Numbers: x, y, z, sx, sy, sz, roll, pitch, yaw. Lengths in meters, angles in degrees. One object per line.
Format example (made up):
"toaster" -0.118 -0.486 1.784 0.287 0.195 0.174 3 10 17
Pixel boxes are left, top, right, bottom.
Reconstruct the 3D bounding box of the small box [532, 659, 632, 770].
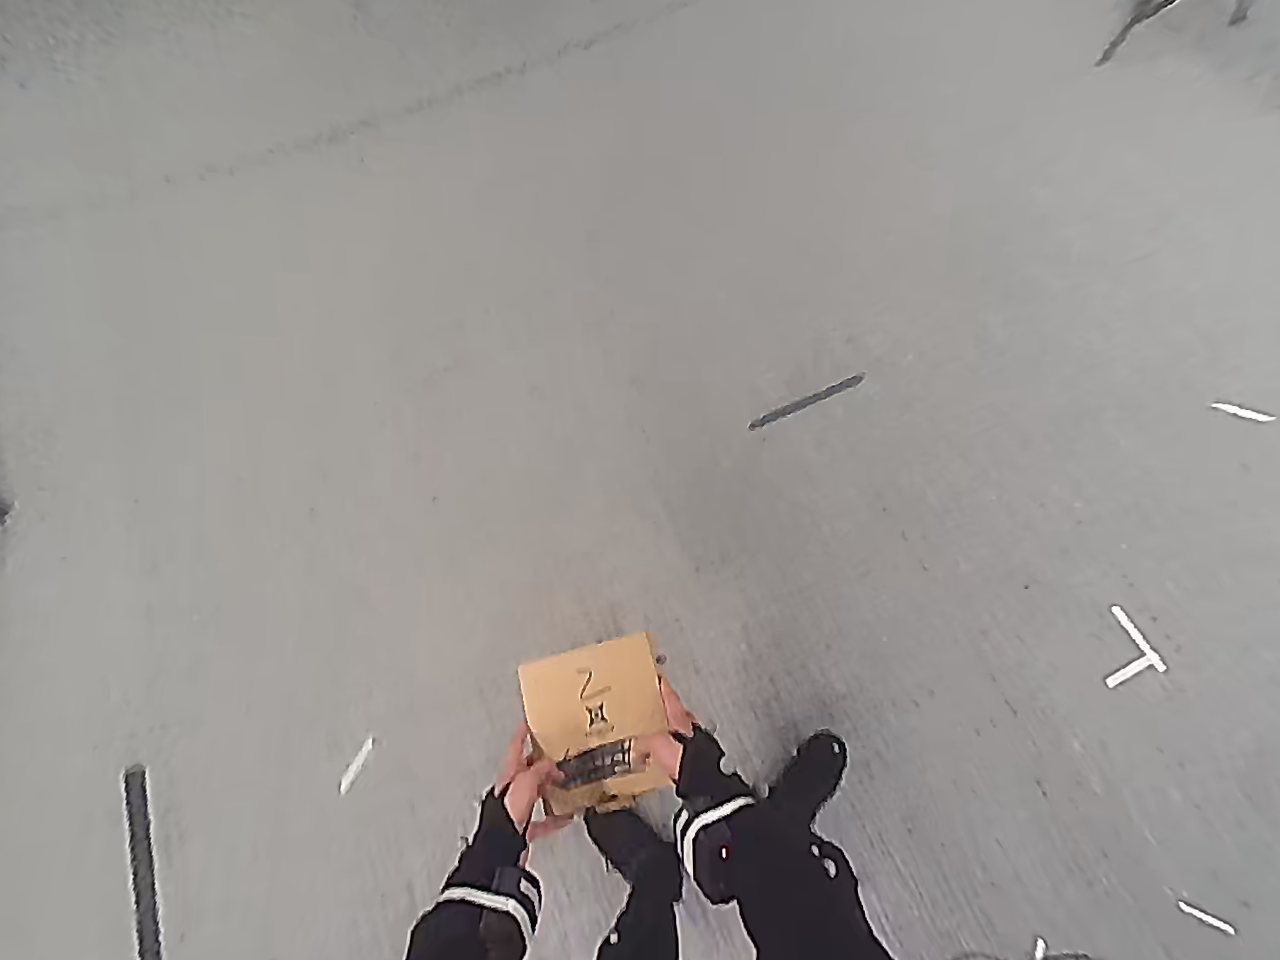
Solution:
"small box" -0.131 0.547 1.277 0.168 0.176 0.179 -32 73 -10
